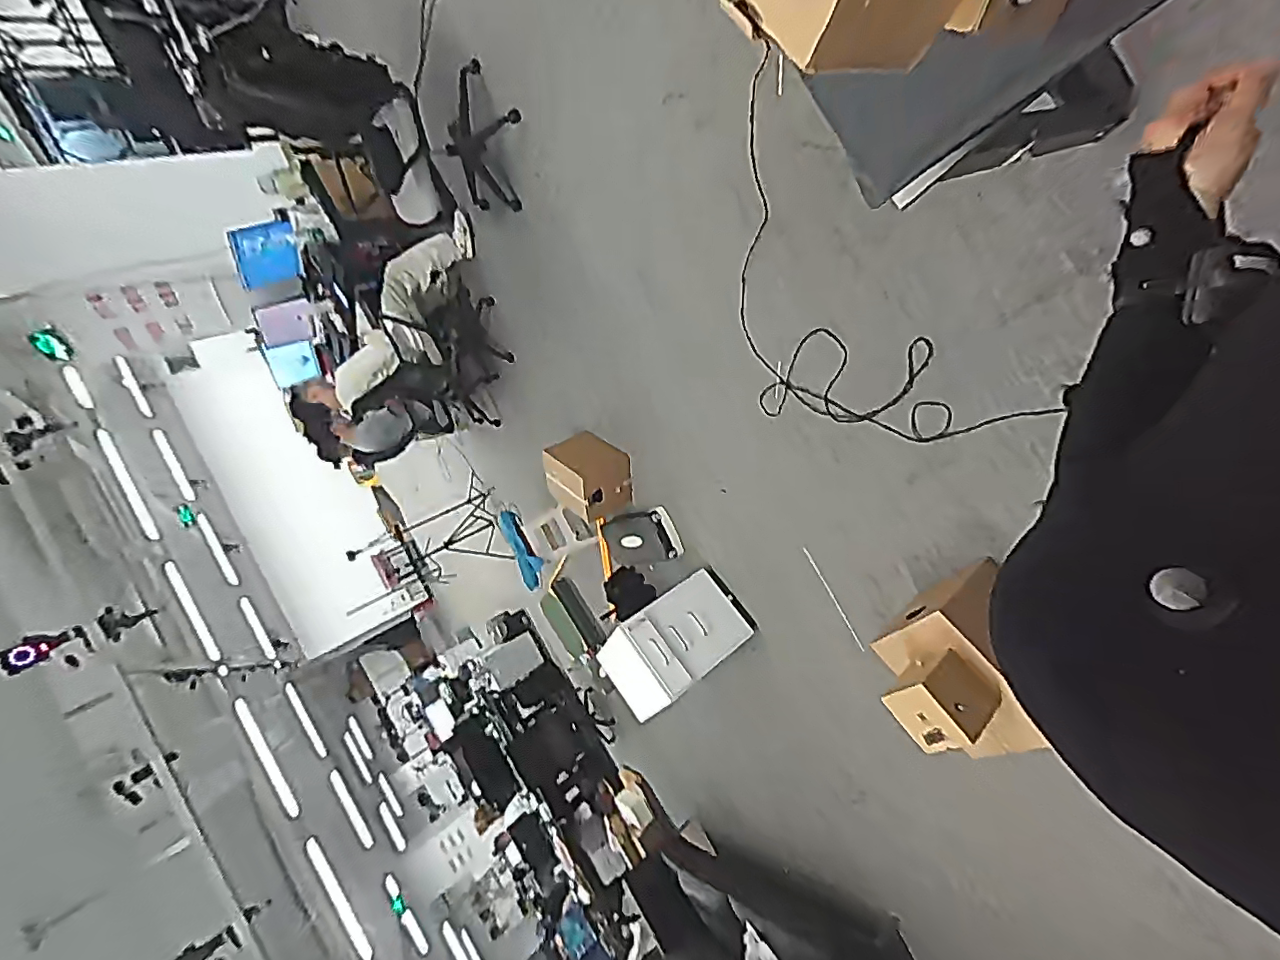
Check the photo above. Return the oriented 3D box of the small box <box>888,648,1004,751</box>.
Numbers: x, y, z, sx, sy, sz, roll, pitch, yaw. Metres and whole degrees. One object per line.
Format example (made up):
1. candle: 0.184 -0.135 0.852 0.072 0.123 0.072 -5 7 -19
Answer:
1. small box: 0.814 0.581 1.435 0.179 0.176 0.168 52 146 18

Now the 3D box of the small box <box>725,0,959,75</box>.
1. small box: 0.177 -0.457 0.418 0.168 0.176 0.179 54 150 15
